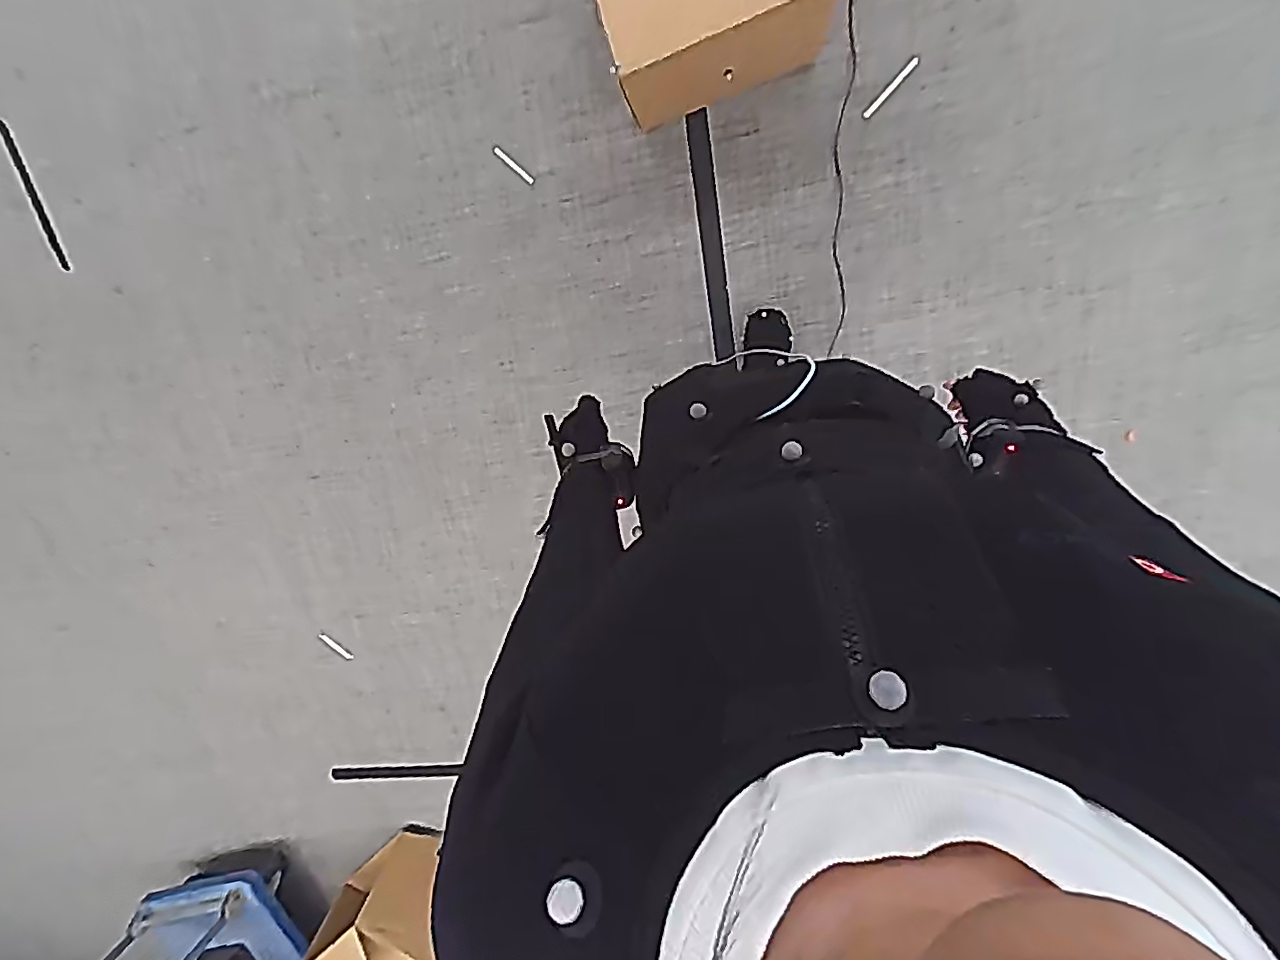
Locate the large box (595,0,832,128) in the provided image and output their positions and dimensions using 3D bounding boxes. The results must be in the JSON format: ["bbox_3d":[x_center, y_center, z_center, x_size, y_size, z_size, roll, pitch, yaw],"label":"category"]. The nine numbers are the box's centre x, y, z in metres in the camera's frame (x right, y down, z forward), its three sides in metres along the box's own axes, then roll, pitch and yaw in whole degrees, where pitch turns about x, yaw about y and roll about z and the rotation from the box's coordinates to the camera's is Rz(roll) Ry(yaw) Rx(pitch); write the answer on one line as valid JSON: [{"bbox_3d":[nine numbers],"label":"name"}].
[{"bbox_3d":[0.124,-0.958,1.031,0.408,0.320,0.320,-15,103,14],"label":"large box"}]
